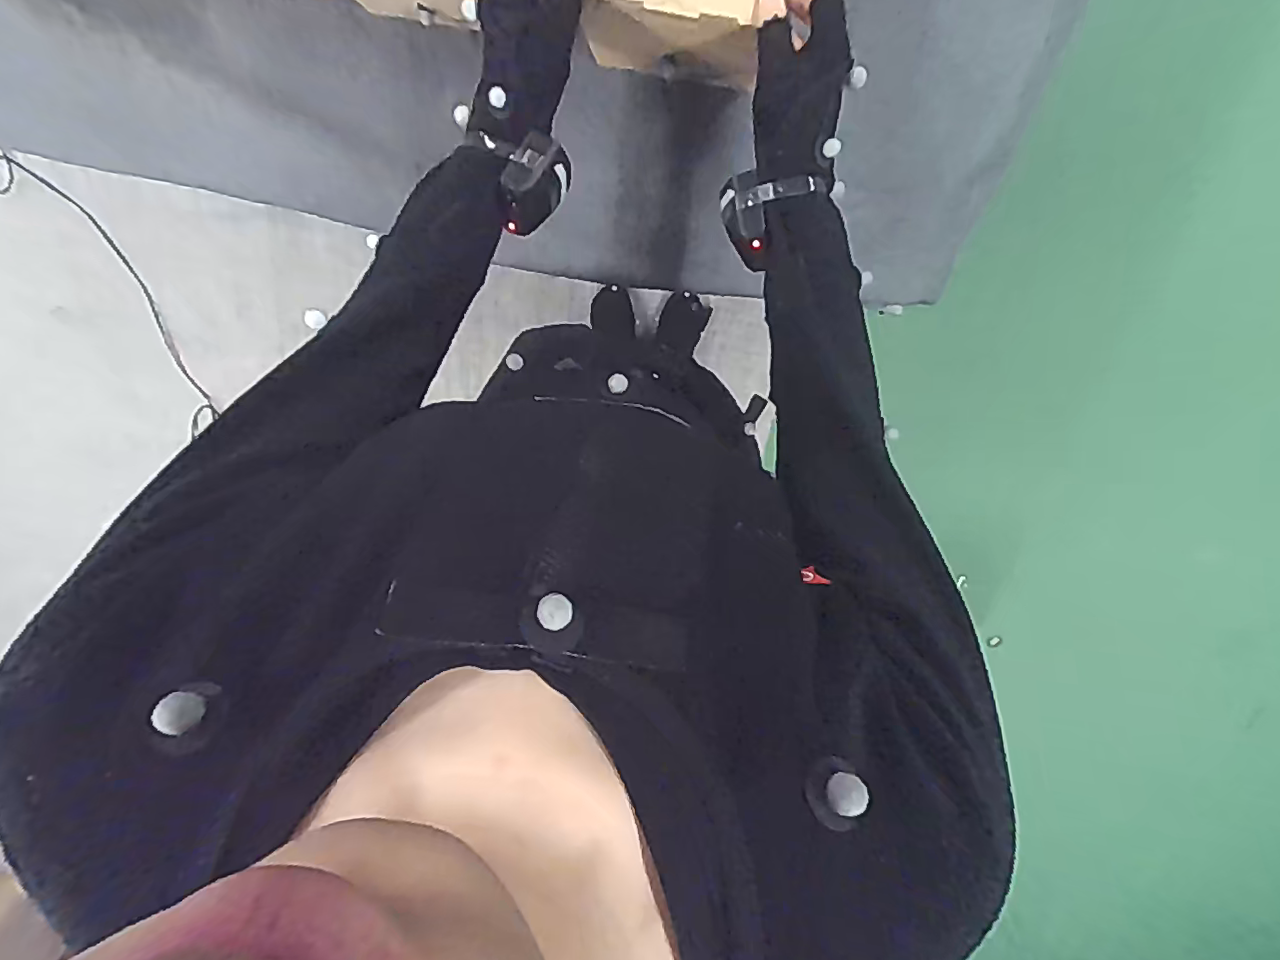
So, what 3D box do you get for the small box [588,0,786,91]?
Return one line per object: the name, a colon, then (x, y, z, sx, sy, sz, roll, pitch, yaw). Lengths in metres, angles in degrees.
small box: (0.047, -0.469, 0.459, 0.168, 0.176, 0.179, 10, 113, 1)
